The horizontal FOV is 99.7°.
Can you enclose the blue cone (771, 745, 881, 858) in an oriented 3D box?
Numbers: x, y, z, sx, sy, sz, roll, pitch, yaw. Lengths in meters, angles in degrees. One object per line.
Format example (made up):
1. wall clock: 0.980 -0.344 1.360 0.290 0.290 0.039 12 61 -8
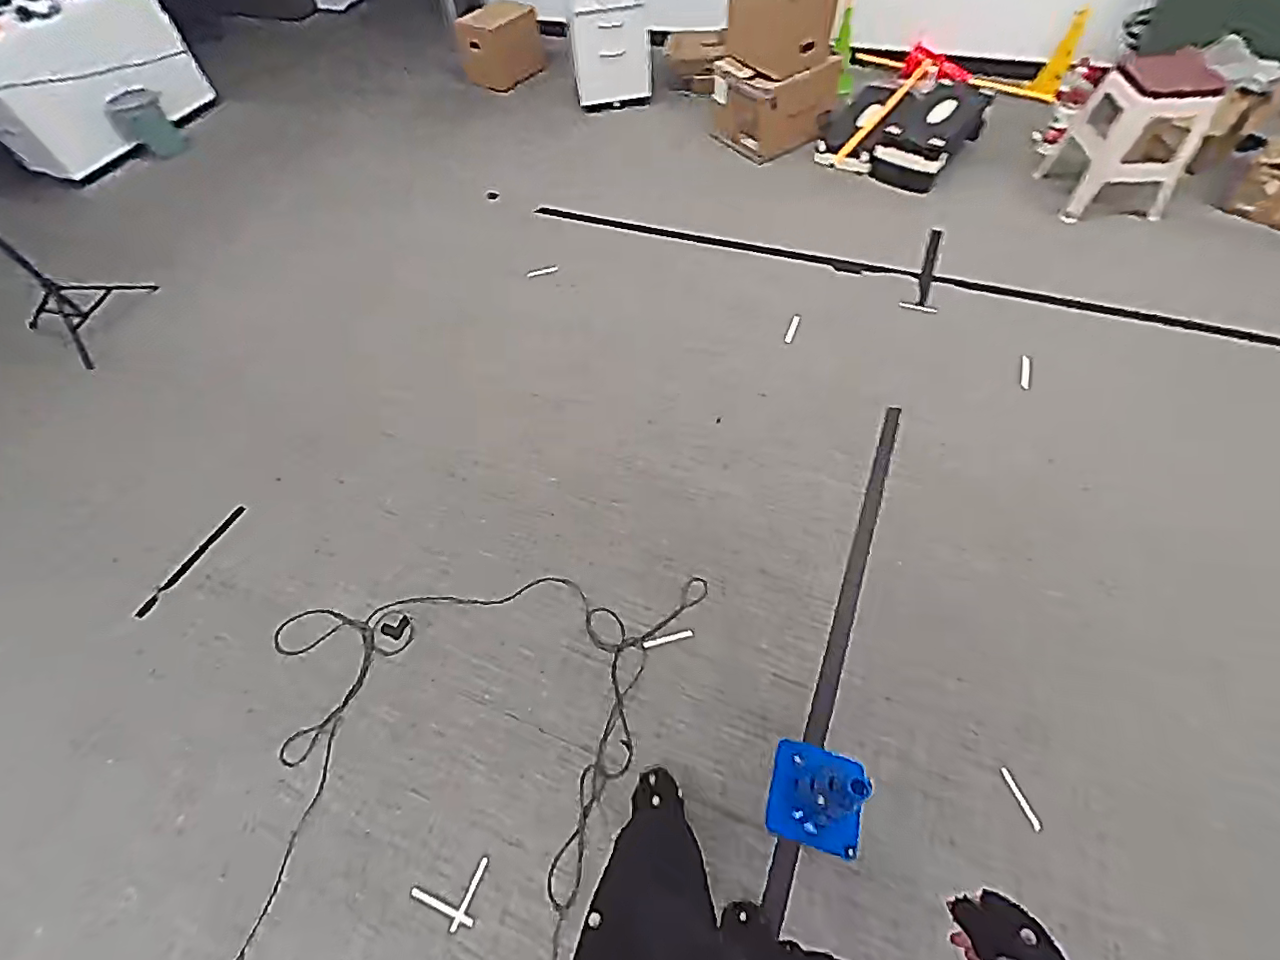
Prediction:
1. blue cone: 0.392 0.631 1.082 0.192 0.380 0.193 15 60 13
